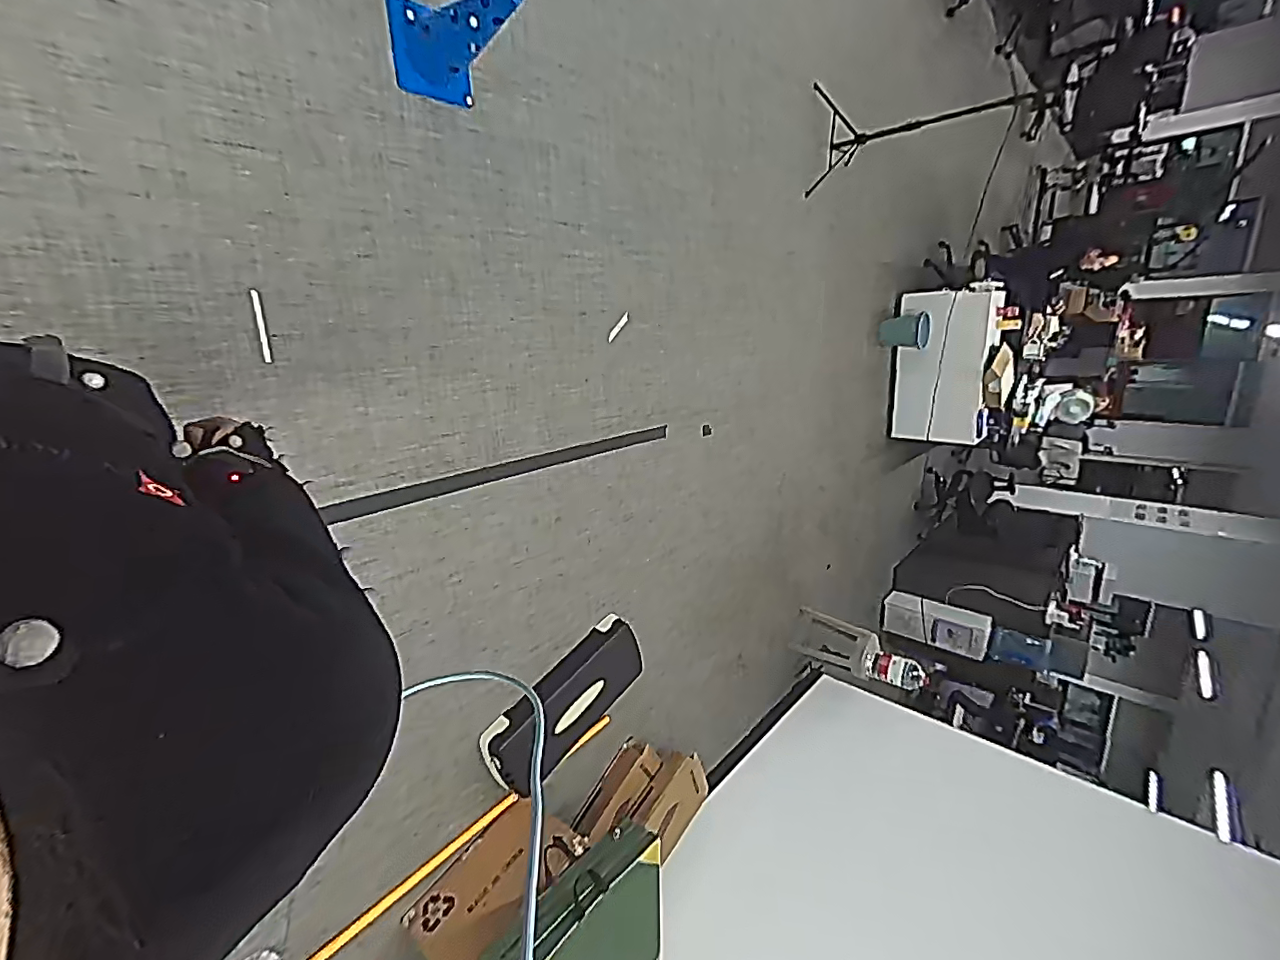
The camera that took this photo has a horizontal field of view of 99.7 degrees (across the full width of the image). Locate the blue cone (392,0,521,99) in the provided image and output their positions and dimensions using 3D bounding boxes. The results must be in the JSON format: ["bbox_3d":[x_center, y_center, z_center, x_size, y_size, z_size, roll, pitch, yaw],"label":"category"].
[{"bbox_3d":[-0.381,-1.030,1.208,0.192,0.380,0.193,-17,111,-46],"label":"blue cone"}]
